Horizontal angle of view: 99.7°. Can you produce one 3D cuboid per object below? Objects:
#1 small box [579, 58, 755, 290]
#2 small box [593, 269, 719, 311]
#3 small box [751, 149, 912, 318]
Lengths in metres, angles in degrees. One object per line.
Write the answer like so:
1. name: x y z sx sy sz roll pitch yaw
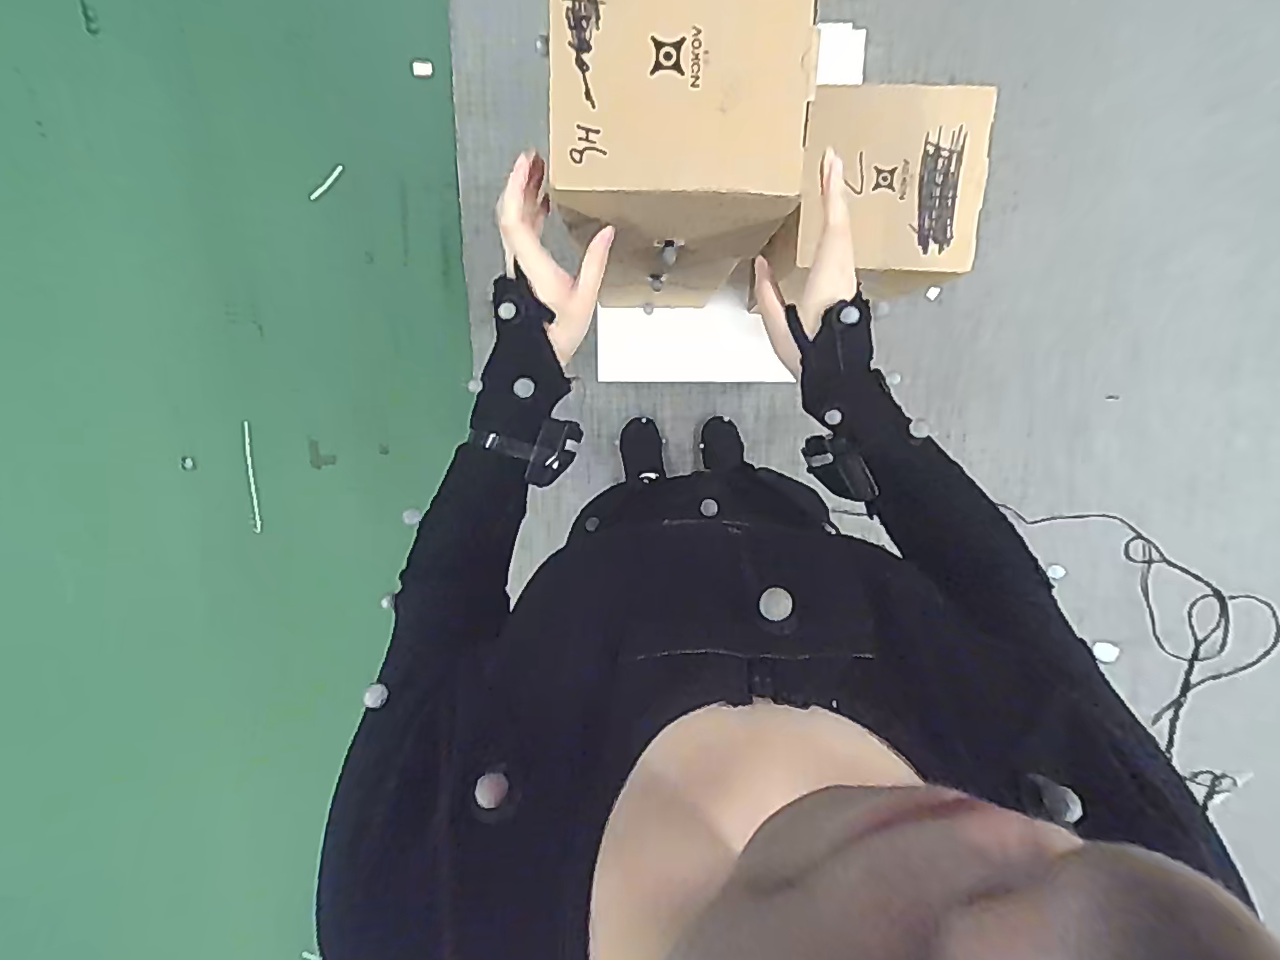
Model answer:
1. small box: 0.024 -0.320 0.600 0.168 0.176 0.179 2 99 0
2. small box: 0.022 -0.342 0.762 0.168 0.176 0.179 1 100 1
3. small box: 0.254 -0.333 0.759 0.168 0.176 0.179 2 100 2
